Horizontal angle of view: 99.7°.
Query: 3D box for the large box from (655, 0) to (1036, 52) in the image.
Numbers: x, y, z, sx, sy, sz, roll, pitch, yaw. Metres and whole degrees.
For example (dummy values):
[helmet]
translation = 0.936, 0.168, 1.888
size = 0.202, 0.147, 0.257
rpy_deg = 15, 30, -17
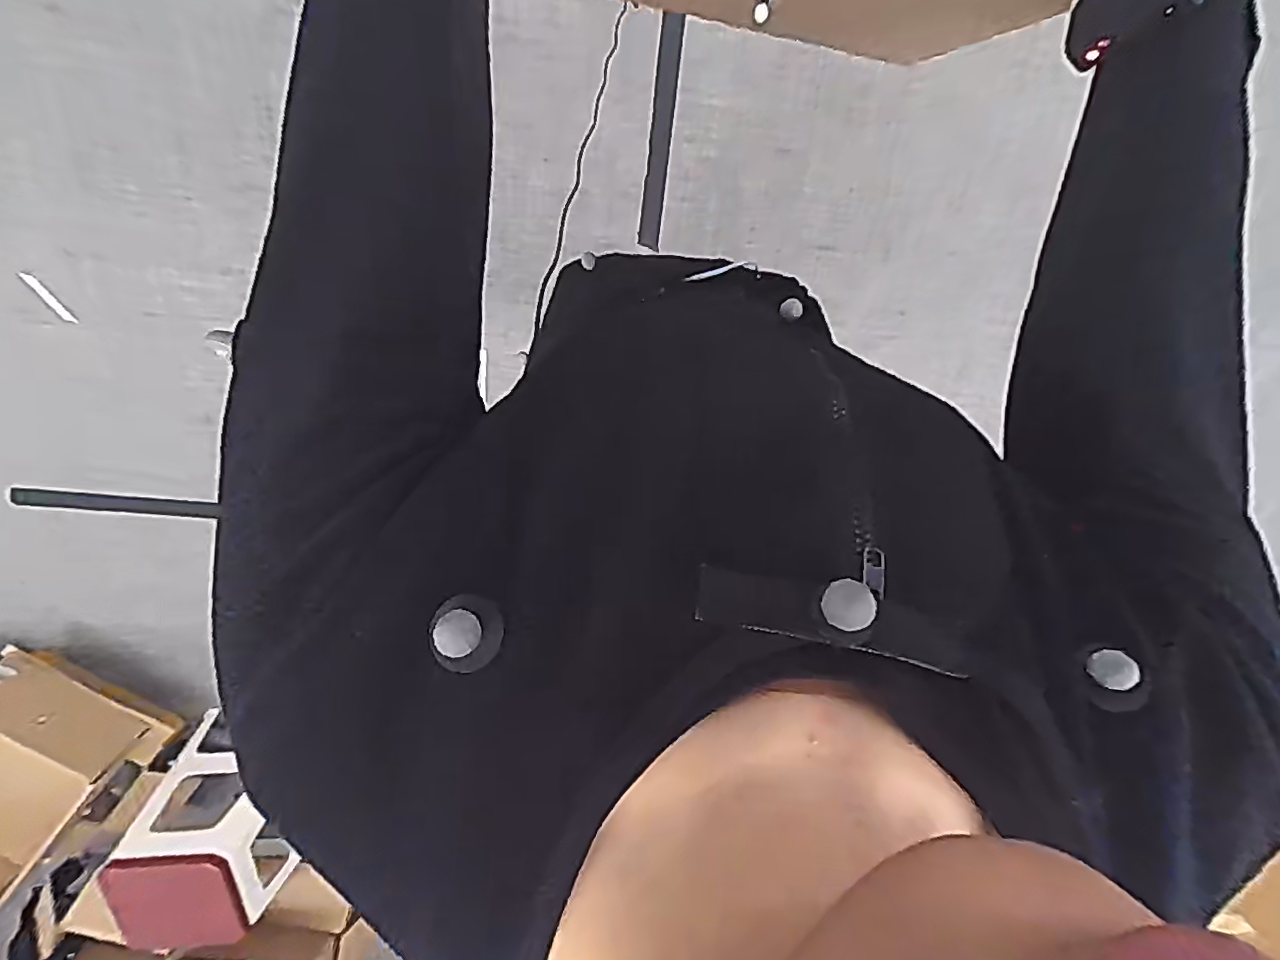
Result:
[large box]
translation = 0.138, -0.567, 0.403
size = 0.408, 0.320, 0.320
rpy_deg = 10, 119, -4
